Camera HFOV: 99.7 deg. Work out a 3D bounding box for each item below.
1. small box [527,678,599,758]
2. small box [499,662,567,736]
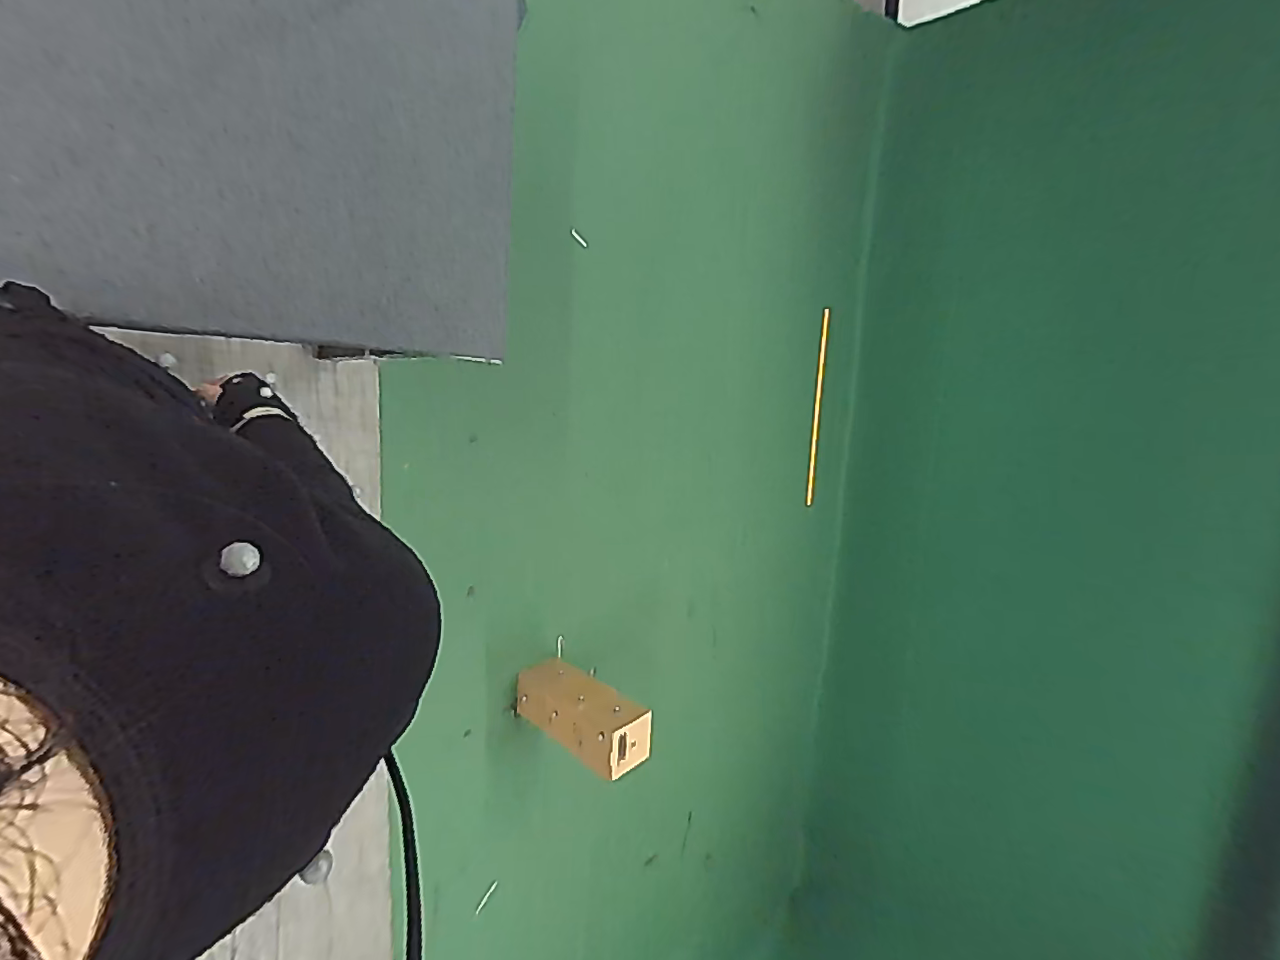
[{"bbox_3d":[-0.262,0.802,1.846,0.179,0.176,0.168,-7,103,-49],"label":"small box"},{"bbox_3d":[-0.386,0.781,1.948,0.179,0.176,0.168,-5,100,-49],"label":"small box"}]
